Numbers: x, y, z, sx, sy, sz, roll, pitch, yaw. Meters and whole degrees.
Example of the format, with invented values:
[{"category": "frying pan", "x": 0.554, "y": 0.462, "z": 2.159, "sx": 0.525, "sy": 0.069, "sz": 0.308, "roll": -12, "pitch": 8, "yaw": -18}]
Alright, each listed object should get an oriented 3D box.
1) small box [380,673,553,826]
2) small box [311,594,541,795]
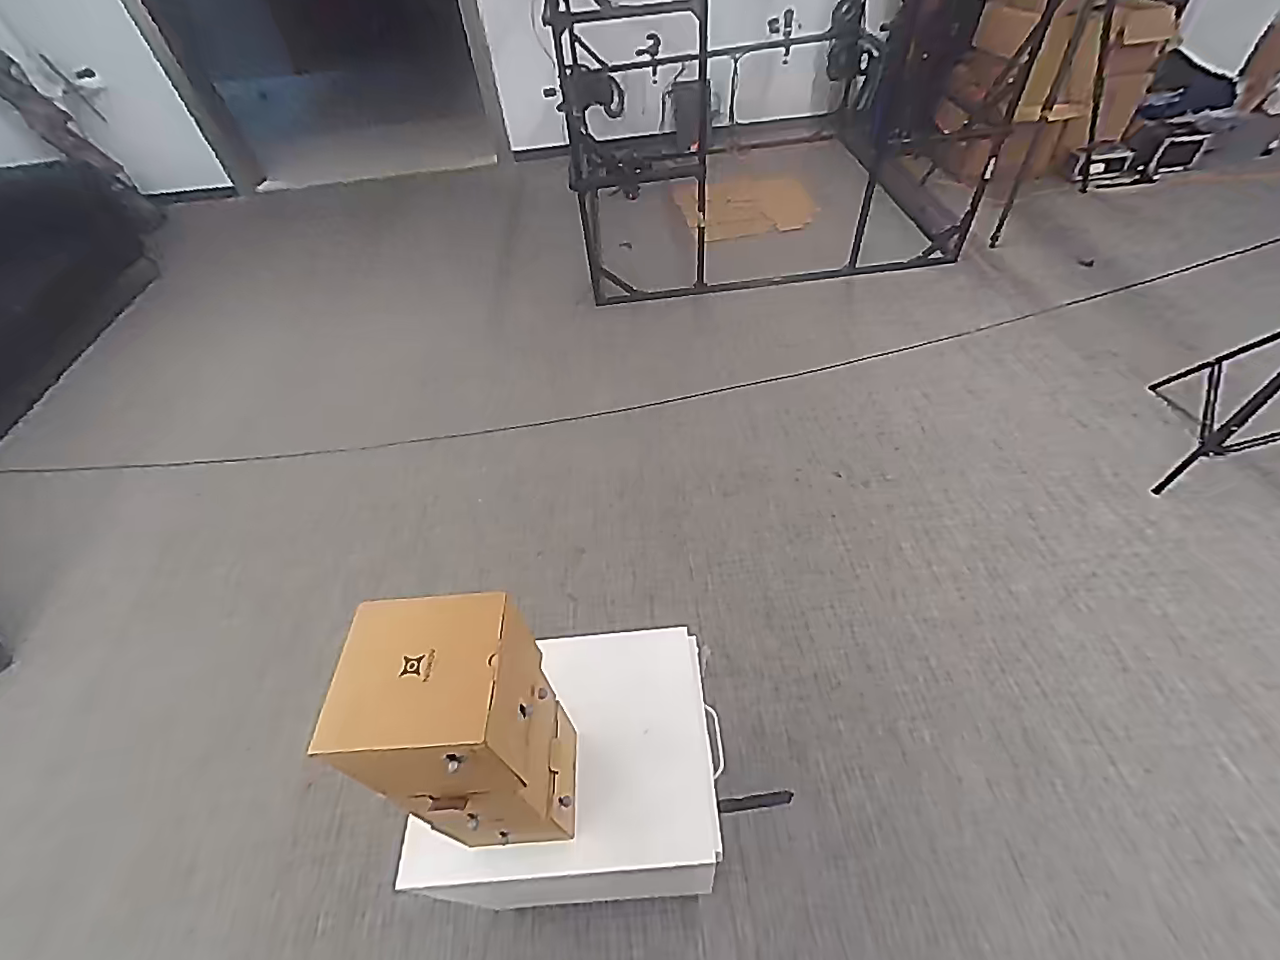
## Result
[{"category": "small box", "x": -0.220, "y": 0.358, "z": 0.745, "sx": 0.168, "sy": 0.176, "sz": 0.179, "roll": -4, "pitch": 48, "yaw": 3}, {"category": "small box", "x": -0.224, "y": 0.250, "z": 0.622, "sx": 0.179, "sy": 0.176, "sz": 0.168, "roll": -4, "pitch": 47, "yaw": 2}]
